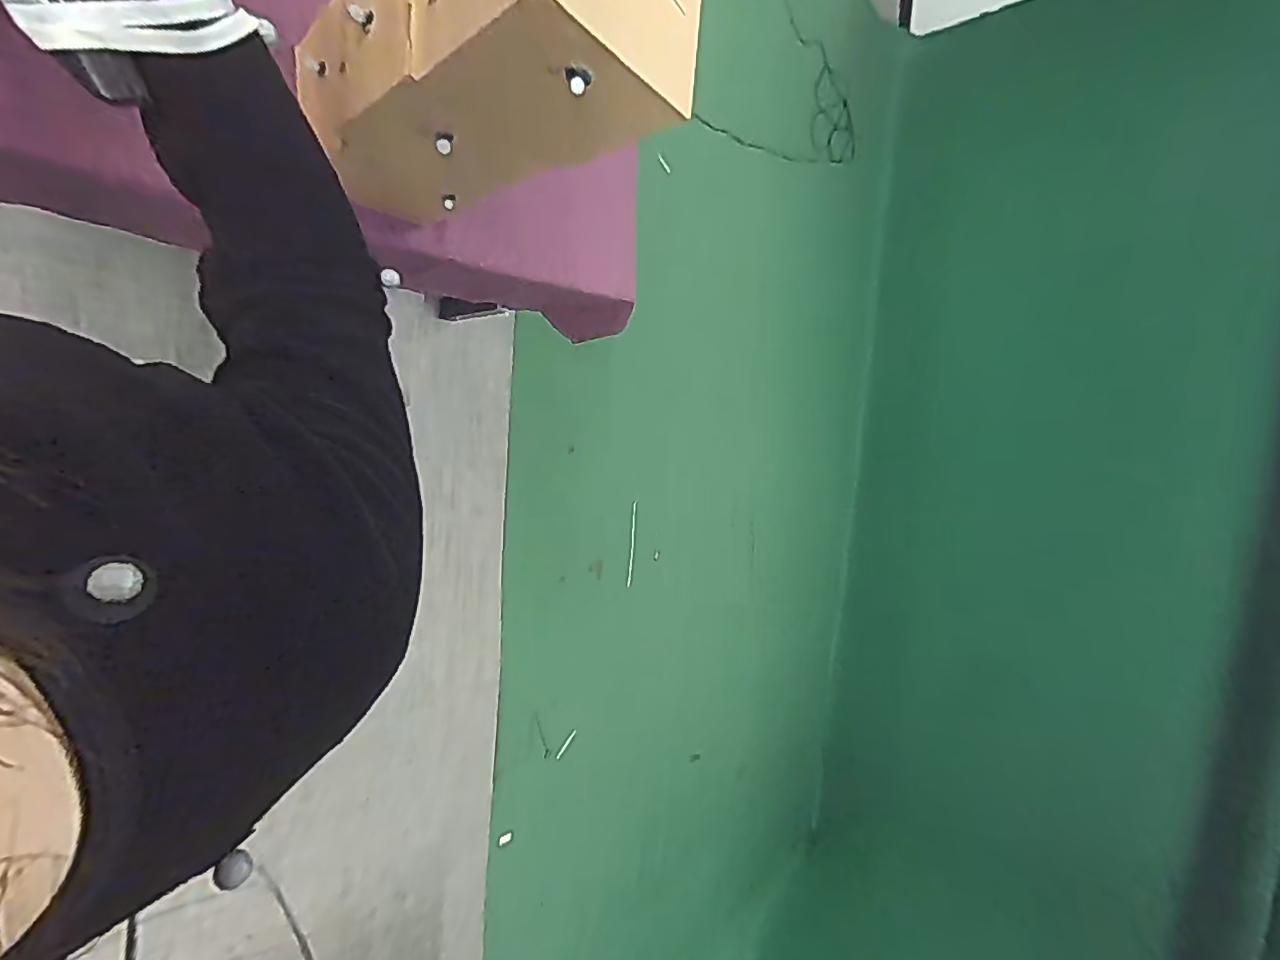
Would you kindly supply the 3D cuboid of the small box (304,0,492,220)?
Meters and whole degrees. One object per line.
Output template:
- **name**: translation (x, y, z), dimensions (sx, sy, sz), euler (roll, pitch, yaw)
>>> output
- **small box**: translation (-0.307, -0.448, 0.683), dimensions (0.179, 0.176, 0.168), euler (-5, 100, -48)

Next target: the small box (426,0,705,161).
- **small box**: translation (-0.062, -0.409, 0.465), dimensions (0.179, 0.176, 0.168), euler (1, 96, -50)

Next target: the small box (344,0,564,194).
- **small box**: translation (-0.190, -0.429, 0.568), dimensions (0.179, 0.176, 0.168), euler (1, 96, -48)
